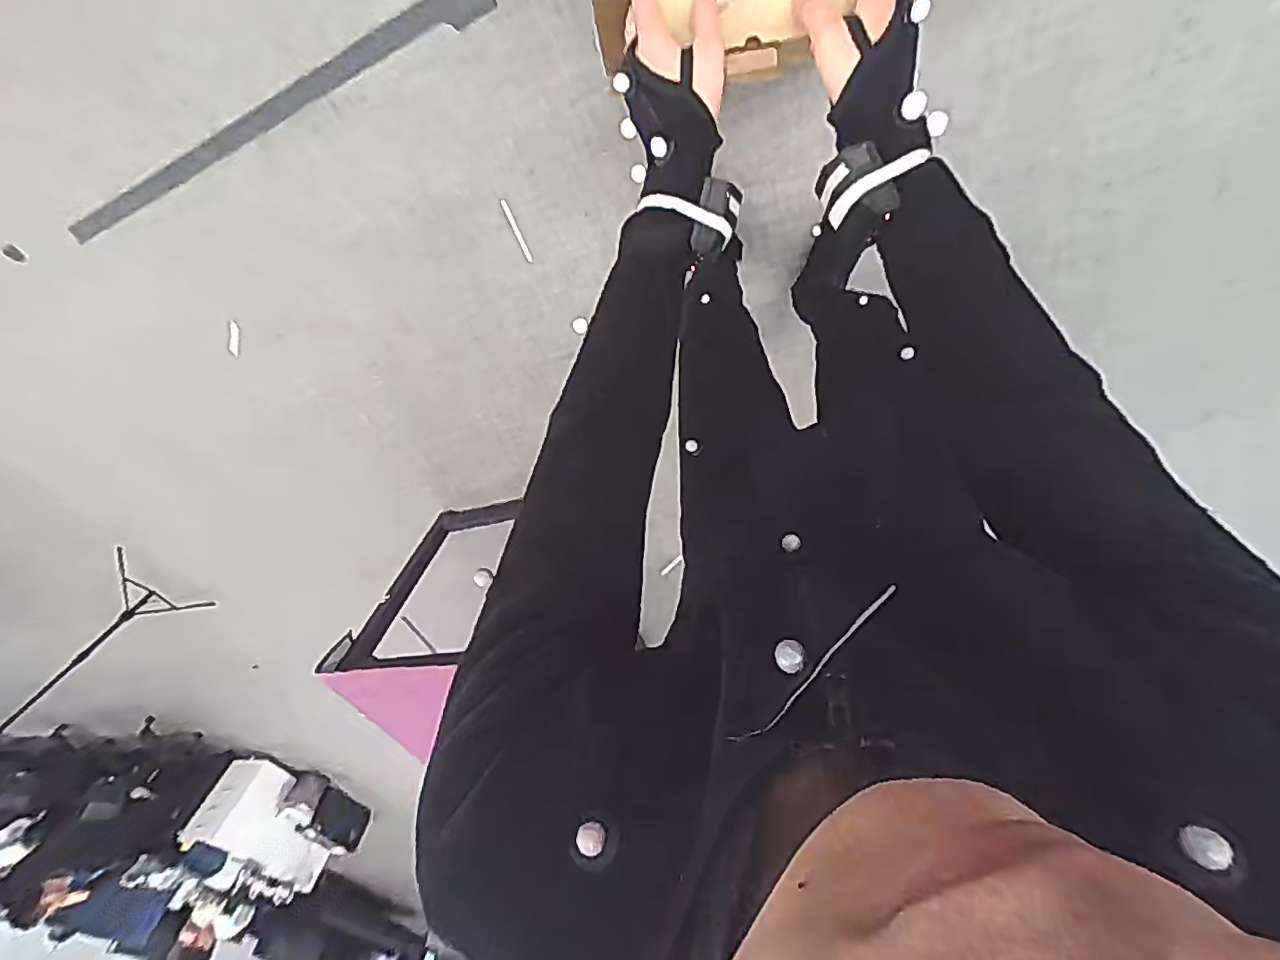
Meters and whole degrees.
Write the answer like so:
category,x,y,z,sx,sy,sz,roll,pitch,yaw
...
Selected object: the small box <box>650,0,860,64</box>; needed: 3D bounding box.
category,x,y,z,sx,sy,sz,roll,pitch,yaw
small box,0.087,-0.469,0.445,0.168,0.176,0.179,-3,134,6
